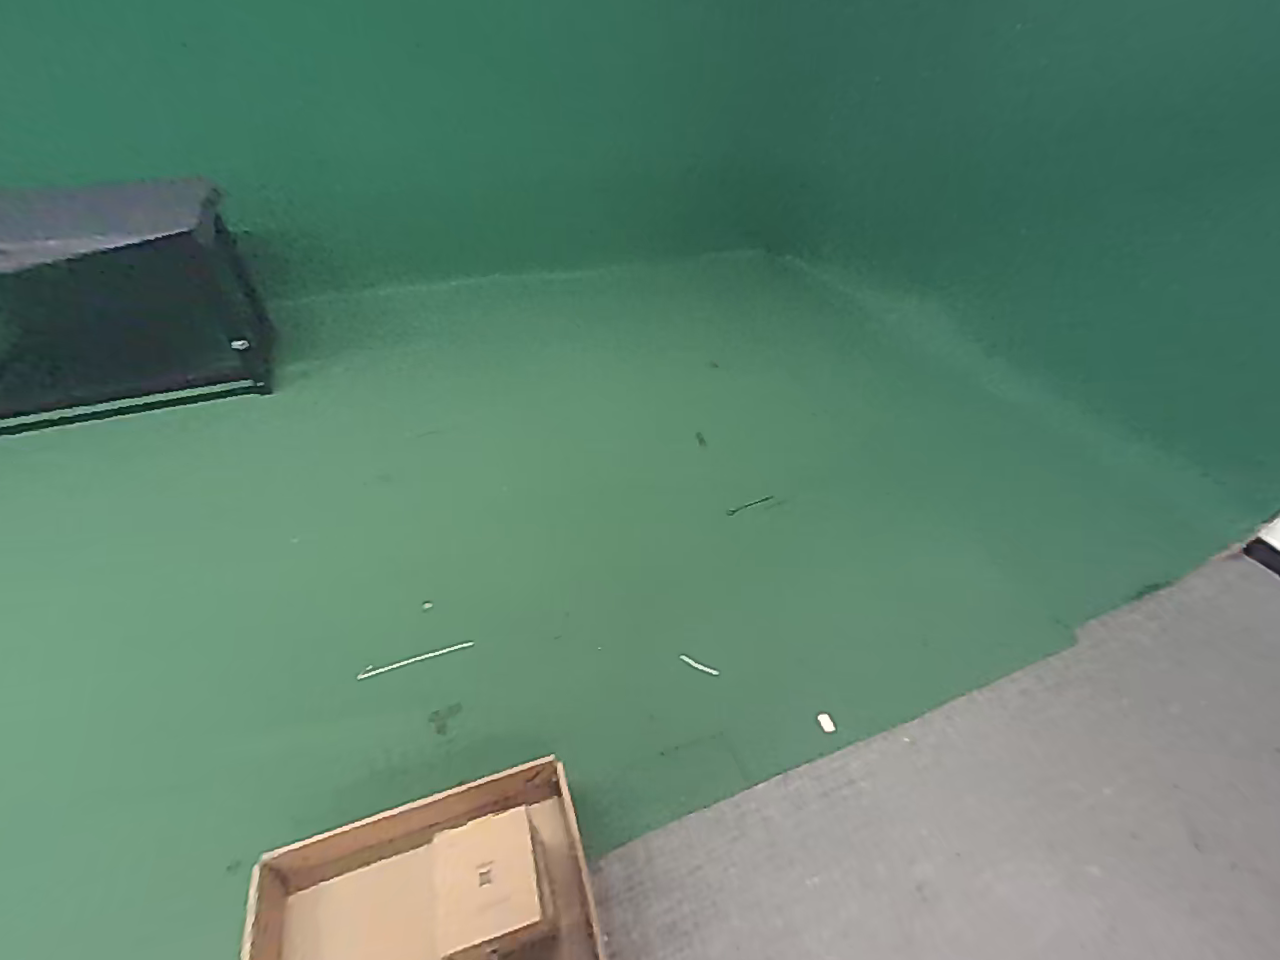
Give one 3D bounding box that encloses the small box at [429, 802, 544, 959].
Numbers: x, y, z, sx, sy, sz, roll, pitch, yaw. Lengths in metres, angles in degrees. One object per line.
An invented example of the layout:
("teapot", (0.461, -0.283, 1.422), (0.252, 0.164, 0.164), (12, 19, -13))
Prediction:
("small box", (-0.270, 0.713, 0.961), (0.168, 0.176, 0.179), (-11, 48, -14))
